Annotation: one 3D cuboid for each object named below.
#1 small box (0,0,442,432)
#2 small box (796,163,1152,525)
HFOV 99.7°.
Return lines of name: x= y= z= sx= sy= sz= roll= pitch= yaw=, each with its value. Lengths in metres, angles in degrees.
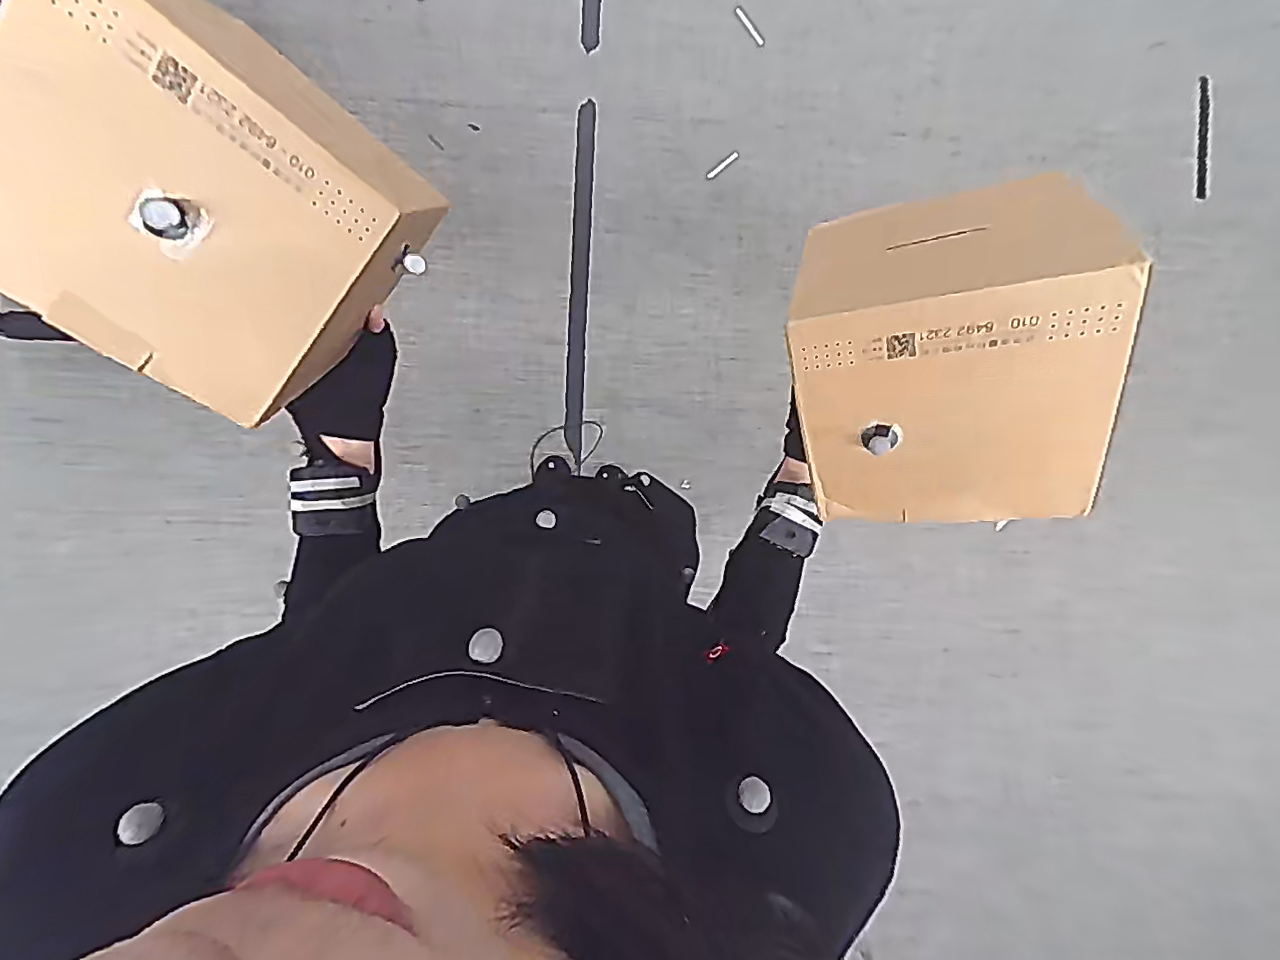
small box: x=-0.249 y=-0.166 z=0.337 sx=0.168 sy=0.179 sz=0.176 roll=37 pitch=105 yaw=-25
small box: x=0.207 y=-0.088 z=0.372 sx=0.168 sy=0.179 sz=0.176 roll=-2 pitch=131 yaw=25
